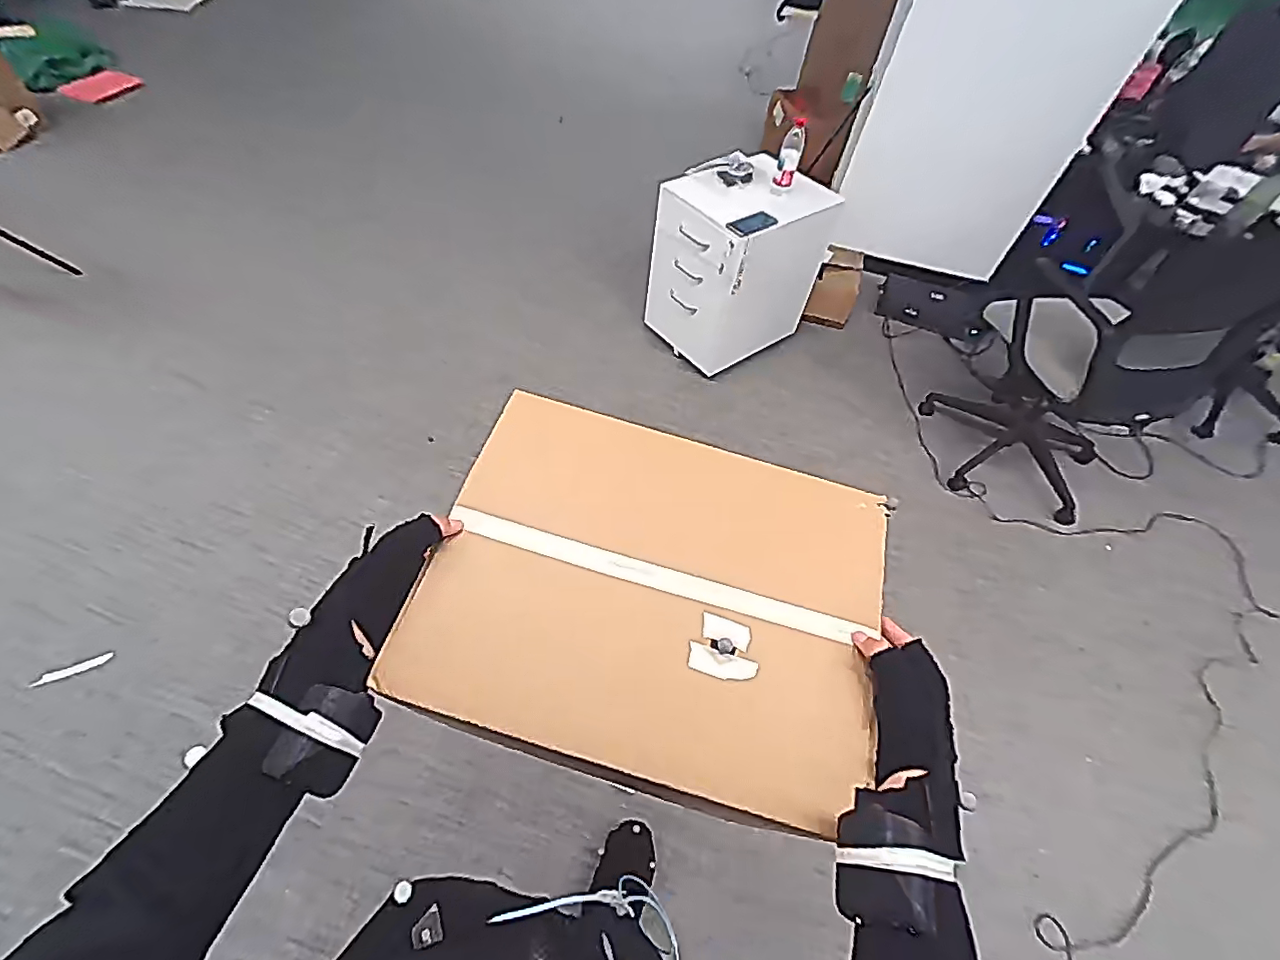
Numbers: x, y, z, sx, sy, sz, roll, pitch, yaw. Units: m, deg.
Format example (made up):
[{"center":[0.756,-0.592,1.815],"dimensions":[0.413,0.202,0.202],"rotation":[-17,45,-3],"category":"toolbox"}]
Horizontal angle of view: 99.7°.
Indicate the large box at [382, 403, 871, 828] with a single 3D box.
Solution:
[{"center":[-0.002,0.166,0.631],"dimensions":[0.408,0.320,0.320],"rotation":[17,61,2],"category":"large box"}]
